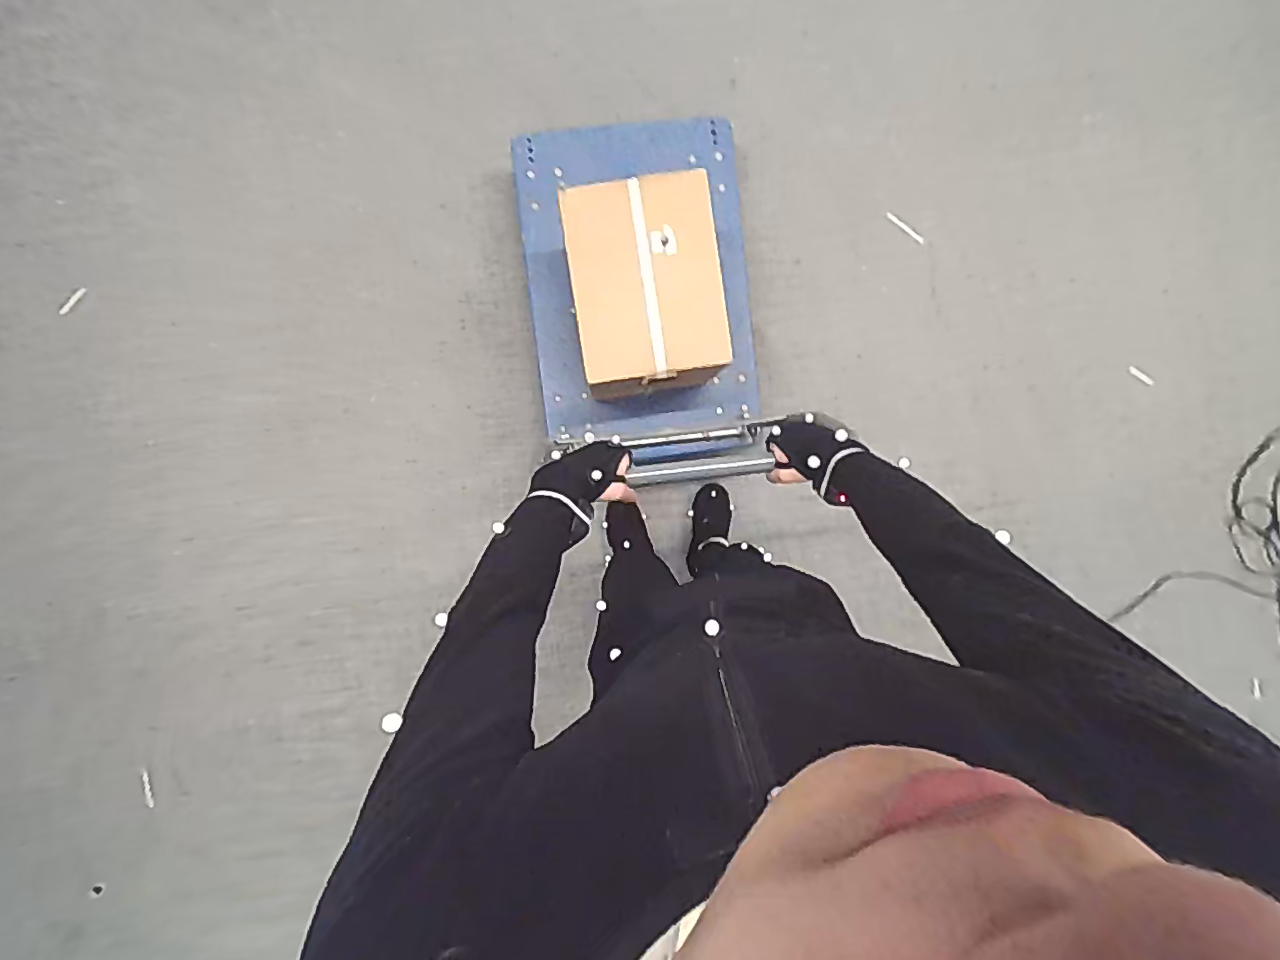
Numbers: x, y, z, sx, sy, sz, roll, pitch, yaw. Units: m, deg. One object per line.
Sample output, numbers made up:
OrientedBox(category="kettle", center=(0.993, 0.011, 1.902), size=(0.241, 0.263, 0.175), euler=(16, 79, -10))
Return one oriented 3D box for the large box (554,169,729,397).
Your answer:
OrientedBox(category="large box", center=(0.002, -0.433, 1.278), size=(0.320, 0.320, 0.408), euler=(-9, 93, -2))
